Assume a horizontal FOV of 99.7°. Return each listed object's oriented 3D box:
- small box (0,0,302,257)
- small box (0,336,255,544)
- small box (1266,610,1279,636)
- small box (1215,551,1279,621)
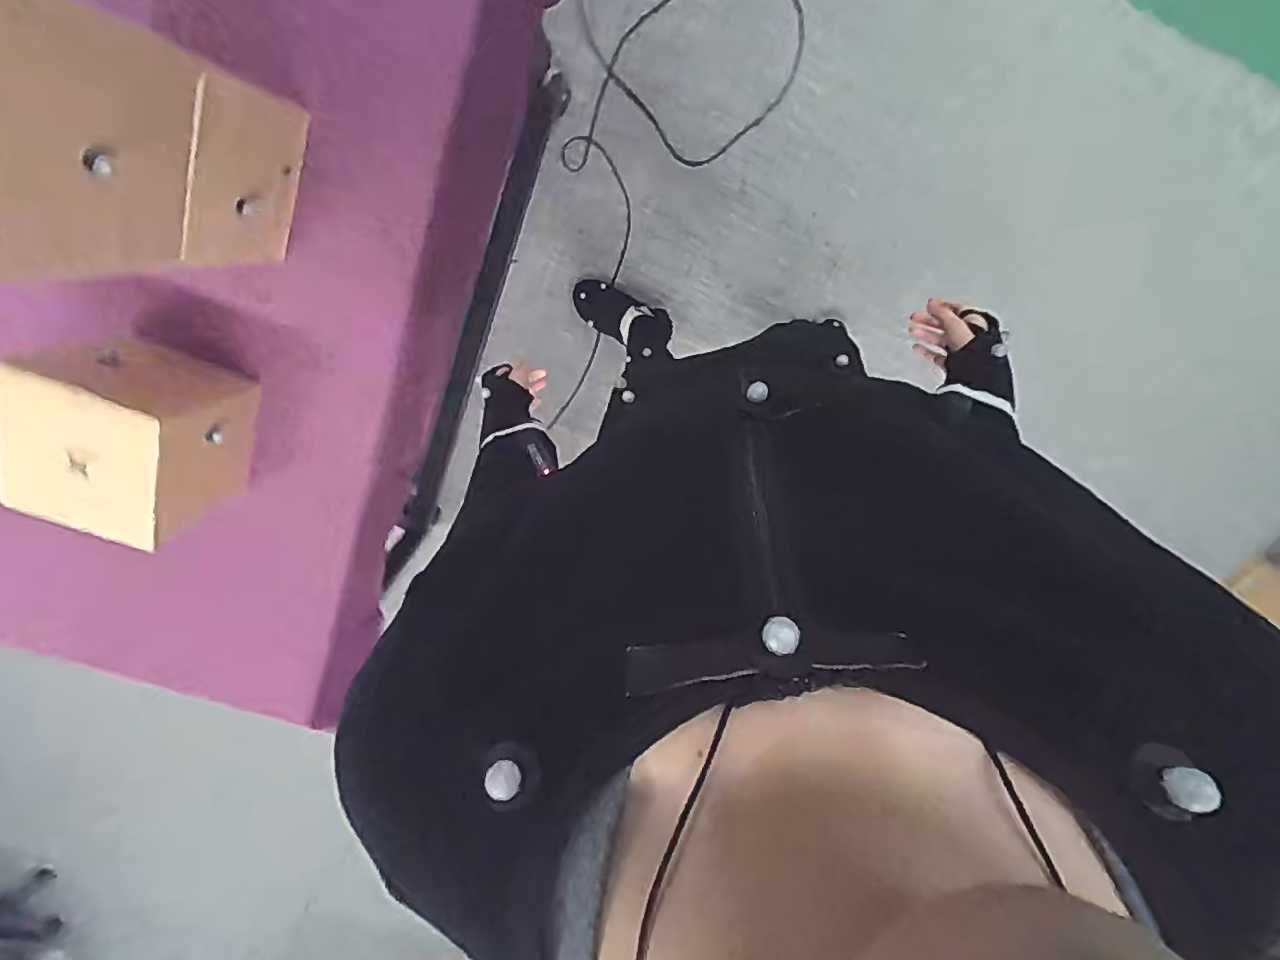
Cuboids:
[{"bbox_3d":[-0.475,-0.341,0.535,0.179,0.176,0.168,23,112,-9],"label":"small box"},{"bbox_3d":[-0.608,-0.058,0.656,0.168,0.176,0.179,21,112,-8],"label":"small box"},{"bbox_3d":[1.934,0.419,1.496,0.168,0.176,0.179,29,109,-12],"label":"small box"},{"bbox_3d":[1.943,0.343,1.642,0.179,0.176,0.168,29,110,-11],"label":"small box"}]
